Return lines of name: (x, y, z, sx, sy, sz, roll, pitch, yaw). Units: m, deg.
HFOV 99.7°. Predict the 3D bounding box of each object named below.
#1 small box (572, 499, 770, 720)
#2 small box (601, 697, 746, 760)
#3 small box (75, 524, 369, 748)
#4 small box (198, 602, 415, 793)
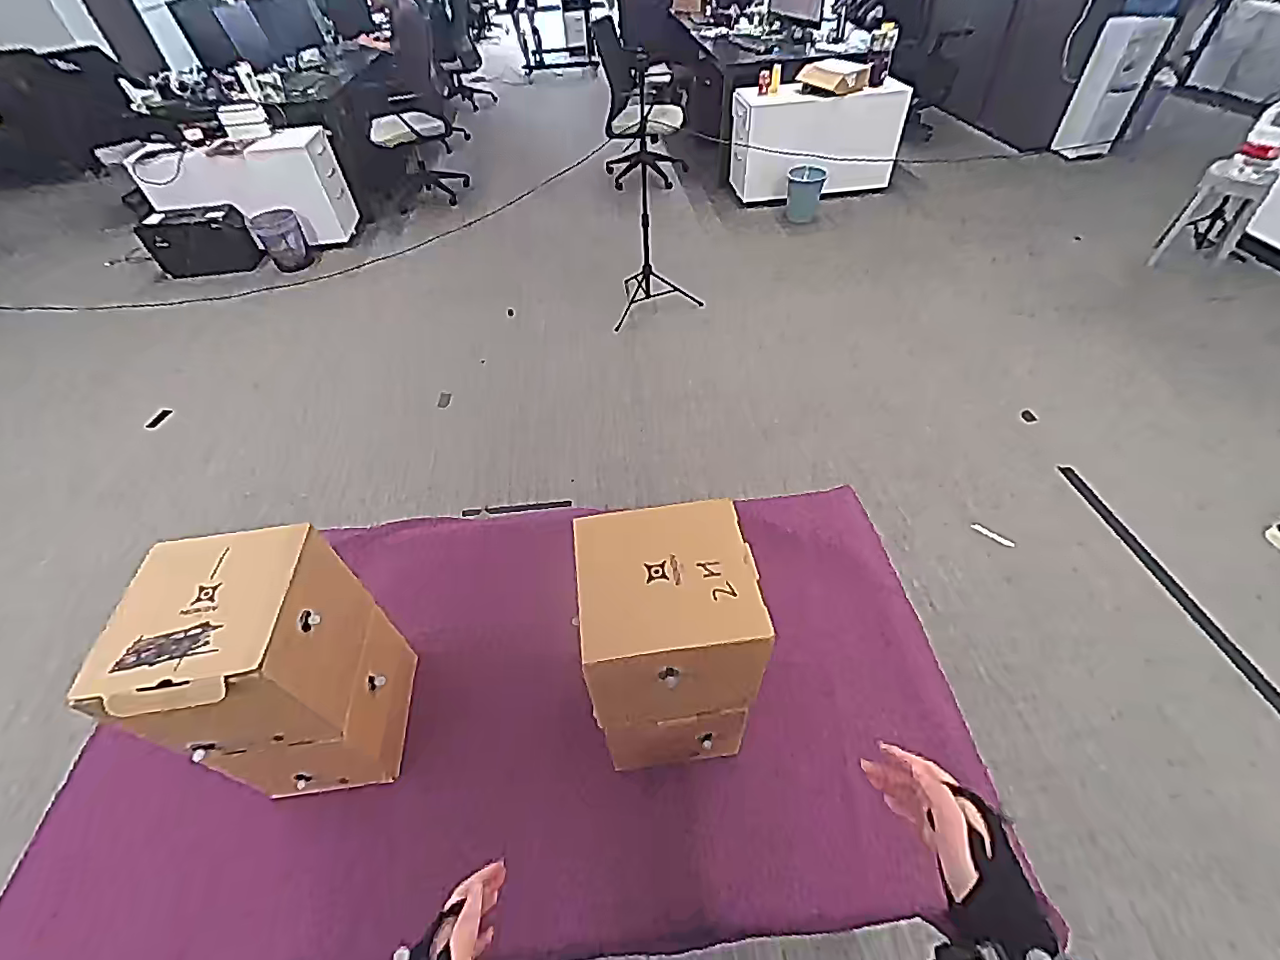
small box: (0.027, 0.144, 0.587, 0.179, 0.176, 0.168, -7, 48, -3)
small box: (0.035, 0.252, 0.711, 0.168, 0.176, 0.179, -6, 47, -2)
small box: (-0.422, 0.175, 0.590, 0.168, 0.176, 0.179, -8, 48, -4)
small box: (-0.413, 0.286, 0.712, 0.168, 0.176, 0.179, -7, 48, -3)
